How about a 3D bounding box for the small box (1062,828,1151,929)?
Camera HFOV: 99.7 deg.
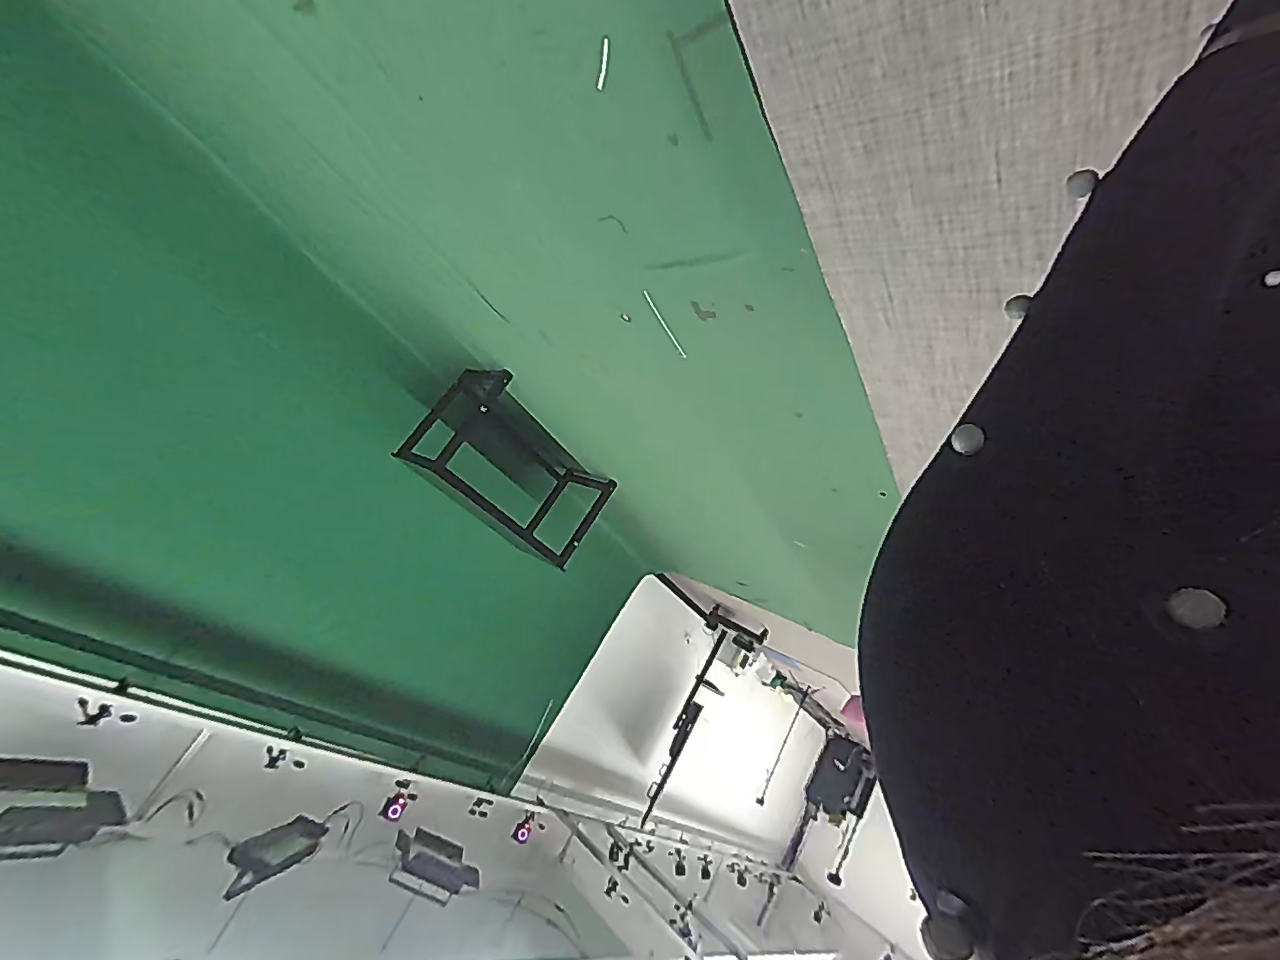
[{"bbox_3d":[1.338,1.140,1.554,0.168,0.176,0.179,14,156,45],"label":"small box"}]
